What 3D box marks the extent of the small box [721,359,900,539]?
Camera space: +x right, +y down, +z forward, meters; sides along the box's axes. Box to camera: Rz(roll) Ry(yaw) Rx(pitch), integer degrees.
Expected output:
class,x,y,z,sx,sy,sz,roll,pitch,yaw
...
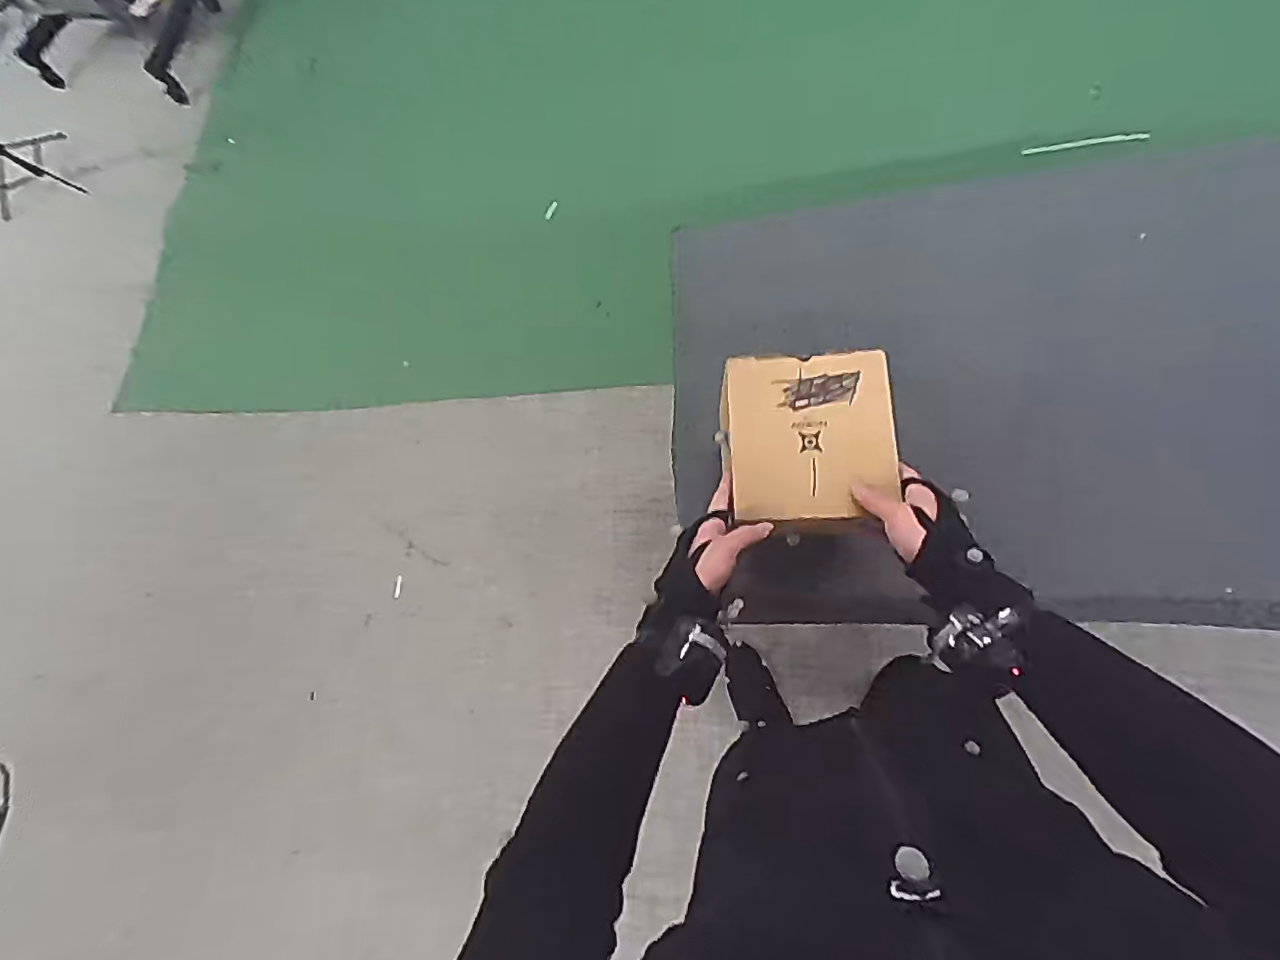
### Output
class,x,y,z,sx,sy,sz,roll,pitch,yaw
small box,0.185,-0.025,0.638,0.168,0.176,0.179,-2,79,6
